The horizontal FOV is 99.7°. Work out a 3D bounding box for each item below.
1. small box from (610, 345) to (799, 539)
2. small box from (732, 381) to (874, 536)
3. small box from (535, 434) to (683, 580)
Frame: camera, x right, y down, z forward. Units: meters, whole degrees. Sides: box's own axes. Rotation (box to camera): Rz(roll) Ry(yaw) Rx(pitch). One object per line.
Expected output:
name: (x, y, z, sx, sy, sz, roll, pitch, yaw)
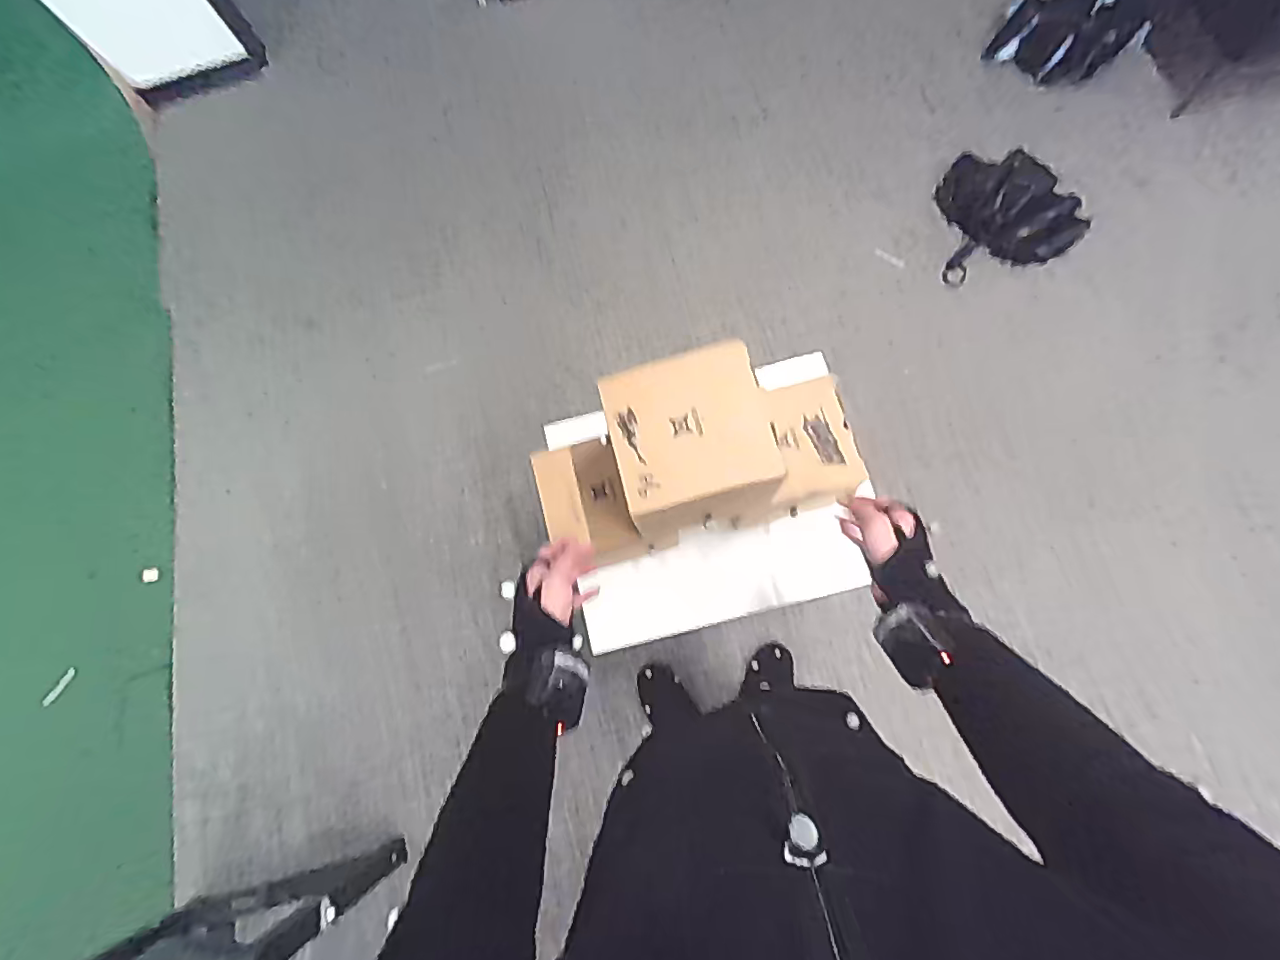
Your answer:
small box: (0.070, -0.036, 0.660, 0.179, 0.176, 0.168, -14, 73, 0)
small box: (0.216, -0.024, 0.816, 0.179, 0.176, 0.168, -14, 73, 1)
small box: (-0.041, 0.043, 0.815, 0.179, 0.176, 0.168, -16, 72, -1)
